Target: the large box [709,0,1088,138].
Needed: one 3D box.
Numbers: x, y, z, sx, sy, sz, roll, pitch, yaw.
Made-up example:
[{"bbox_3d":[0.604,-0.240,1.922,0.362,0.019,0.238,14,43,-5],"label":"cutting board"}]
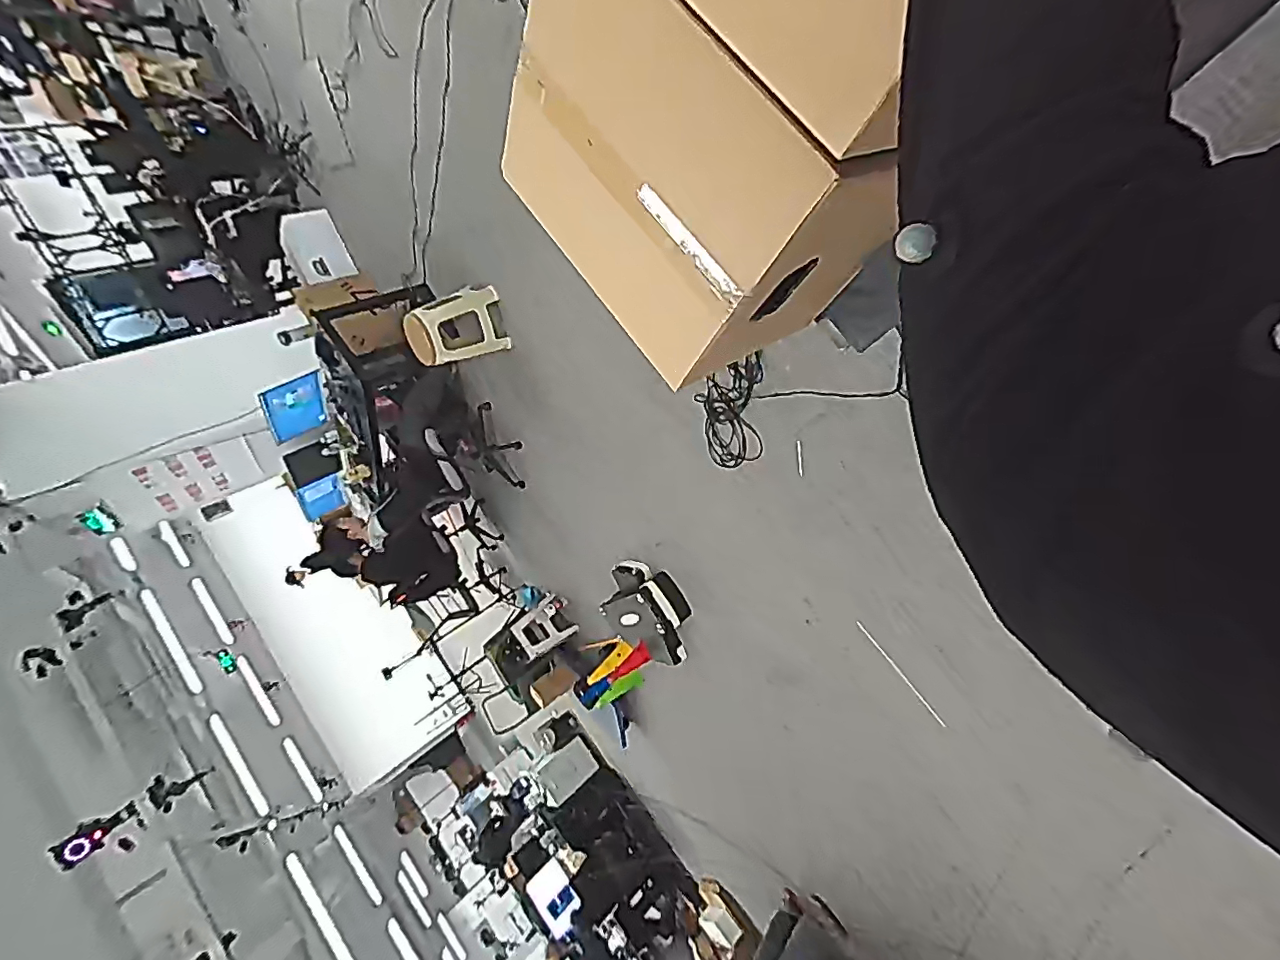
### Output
[{"bbox_3d":[0.208,-0.554,0.420,0.408,0.320,0.320,52,147,9],"label":"large box"}]
